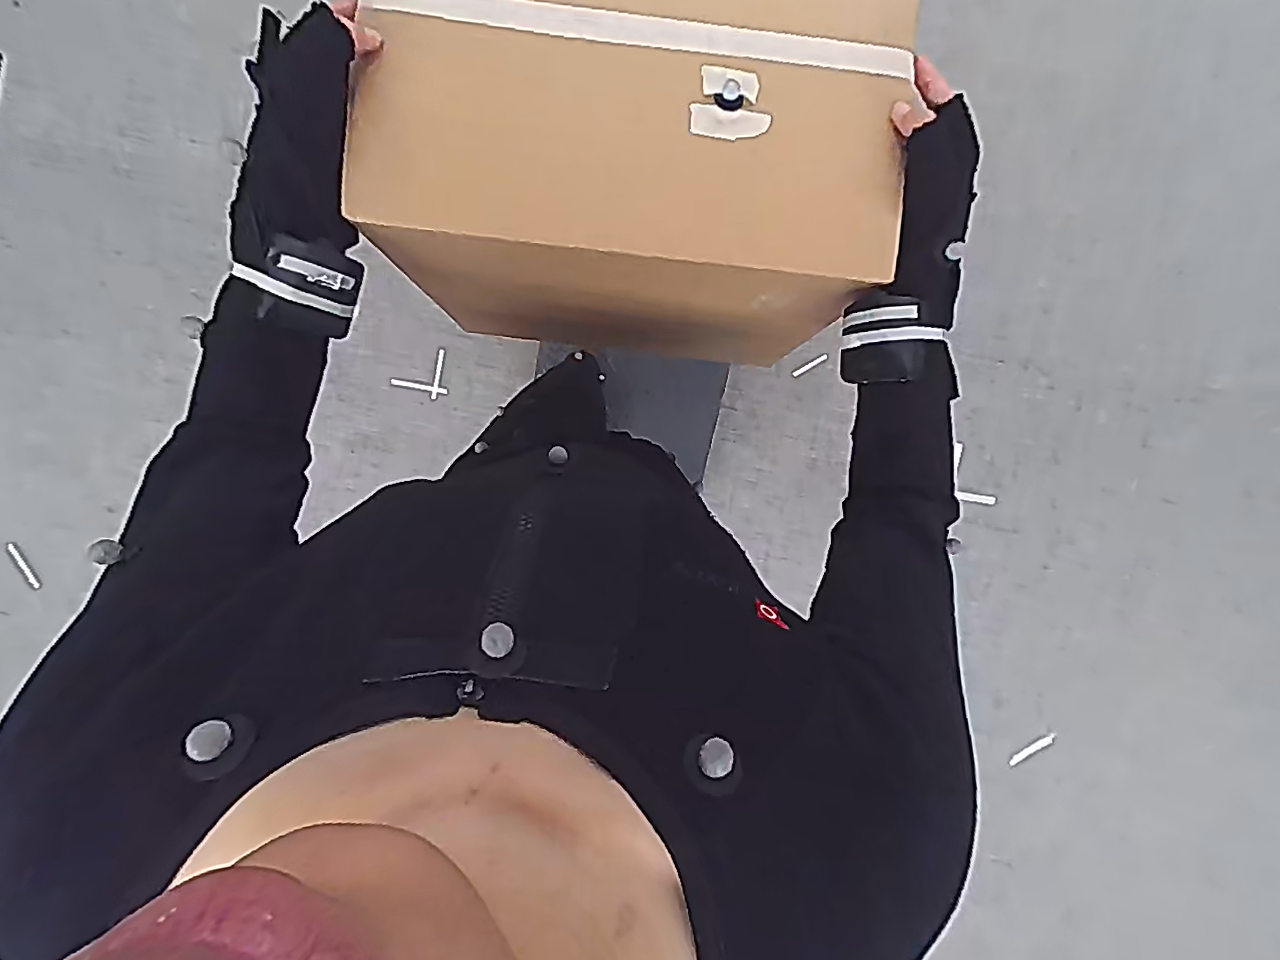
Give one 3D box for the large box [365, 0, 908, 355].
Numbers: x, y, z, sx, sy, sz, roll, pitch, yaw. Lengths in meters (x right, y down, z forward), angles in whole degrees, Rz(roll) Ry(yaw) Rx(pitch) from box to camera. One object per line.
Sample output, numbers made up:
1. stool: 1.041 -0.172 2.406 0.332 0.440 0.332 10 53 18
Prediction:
1. large box: -0.005 -0.331 0.558 0.408 0.320 0.320 6 90 -3
